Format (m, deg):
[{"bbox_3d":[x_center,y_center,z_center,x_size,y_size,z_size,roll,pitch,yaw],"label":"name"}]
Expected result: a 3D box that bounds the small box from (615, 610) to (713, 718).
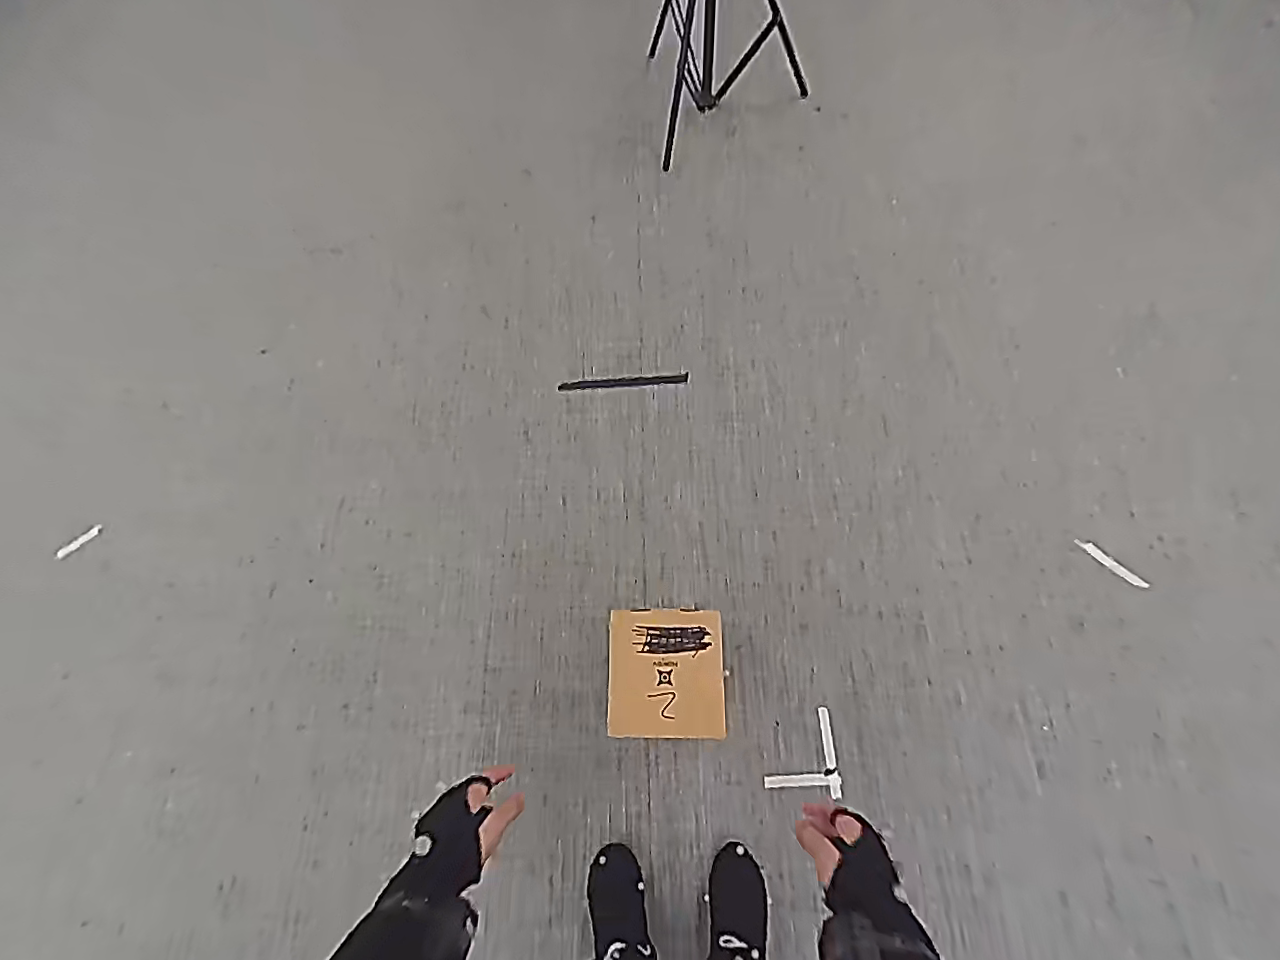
[{"bbox_3d":[0.045,0.340,0.998,0.168,0.176,0.179,-1,69,4],"label":"small box"}]
